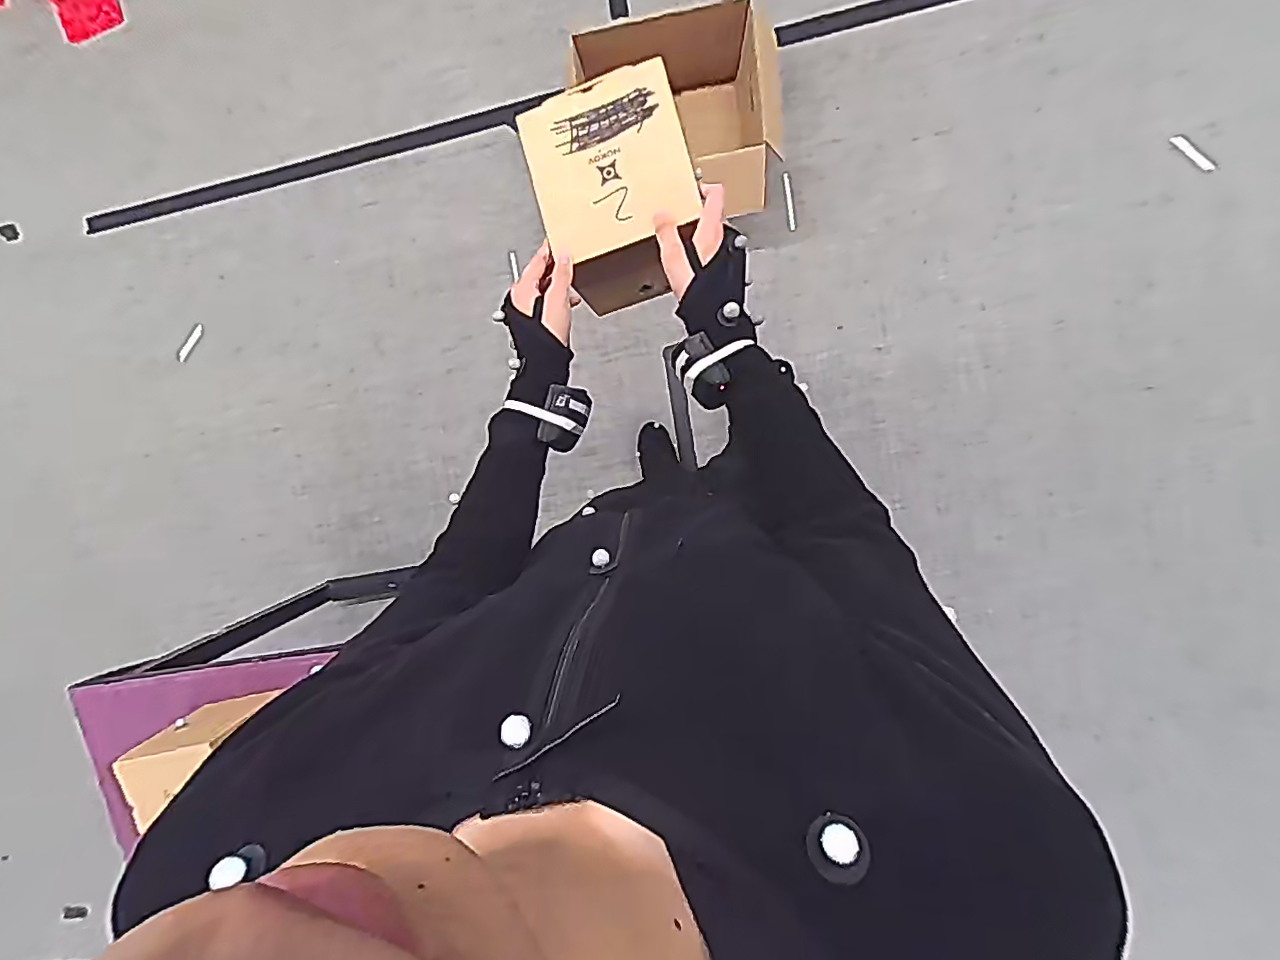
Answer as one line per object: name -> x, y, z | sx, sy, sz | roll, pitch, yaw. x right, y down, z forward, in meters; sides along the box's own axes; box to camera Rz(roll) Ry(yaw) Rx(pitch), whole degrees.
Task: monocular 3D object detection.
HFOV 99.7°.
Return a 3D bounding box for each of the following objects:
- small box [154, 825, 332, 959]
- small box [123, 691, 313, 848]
small box -> -0.695, 0.763, 0.974 | 0.179, 0.176, 0.168 | -19, 95, 8
small box -> -0.721, 0.494, 0.943 | 0.179, 0.176, 0.168 | -13, 97, 8
